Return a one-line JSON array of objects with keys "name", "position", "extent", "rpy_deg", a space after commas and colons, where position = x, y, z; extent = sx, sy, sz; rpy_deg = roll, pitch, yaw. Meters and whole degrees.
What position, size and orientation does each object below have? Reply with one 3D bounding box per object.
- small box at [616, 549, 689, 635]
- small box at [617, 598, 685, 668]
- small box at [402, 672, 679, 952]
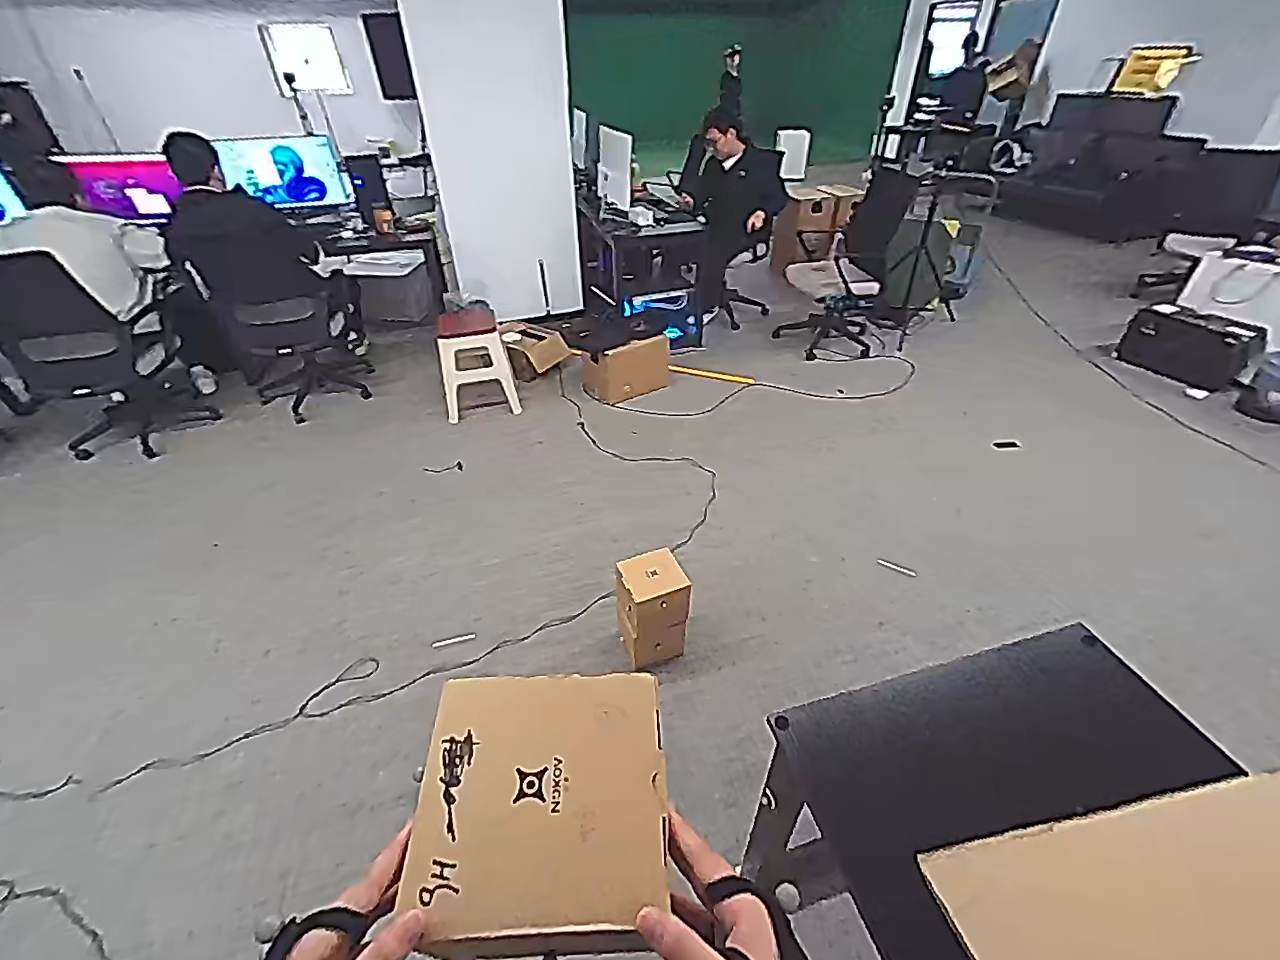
[{"name": "small box", "position": [0.036, 0.344, 1.646], "extent": [0.179, 0.176, 0.168], "rpy_deg": [-15, 41, -18]}, {"name": "small box", "position": [0.033, 0.474, 1.745], "extent": [0.179, 0.176, 0.168], "rpy_deg": [-14, 40, -15]}, {"name": "small box", "position": [-0.069, 0.276, 0.452], "extent": [0.179, 0.176, 0.168], "rpy_deg": [0, 44, -4]}]
